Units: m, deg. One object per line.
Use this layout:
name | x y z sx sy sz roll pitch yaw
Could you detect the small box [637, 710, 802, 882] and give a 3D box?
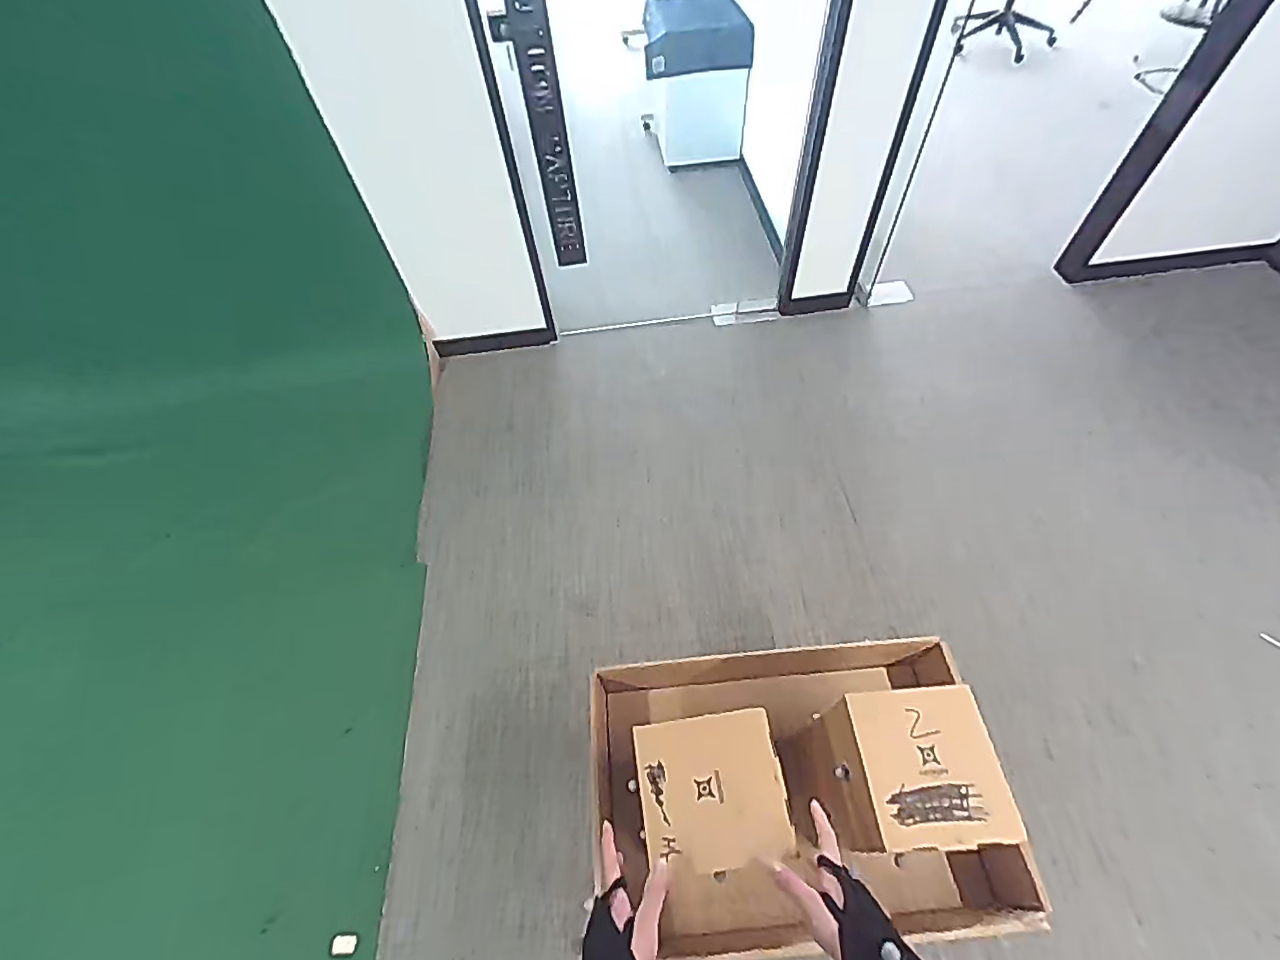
small box | 0.093 0.417 0.719 0.179 0.176 0.168 -8 56 -2
